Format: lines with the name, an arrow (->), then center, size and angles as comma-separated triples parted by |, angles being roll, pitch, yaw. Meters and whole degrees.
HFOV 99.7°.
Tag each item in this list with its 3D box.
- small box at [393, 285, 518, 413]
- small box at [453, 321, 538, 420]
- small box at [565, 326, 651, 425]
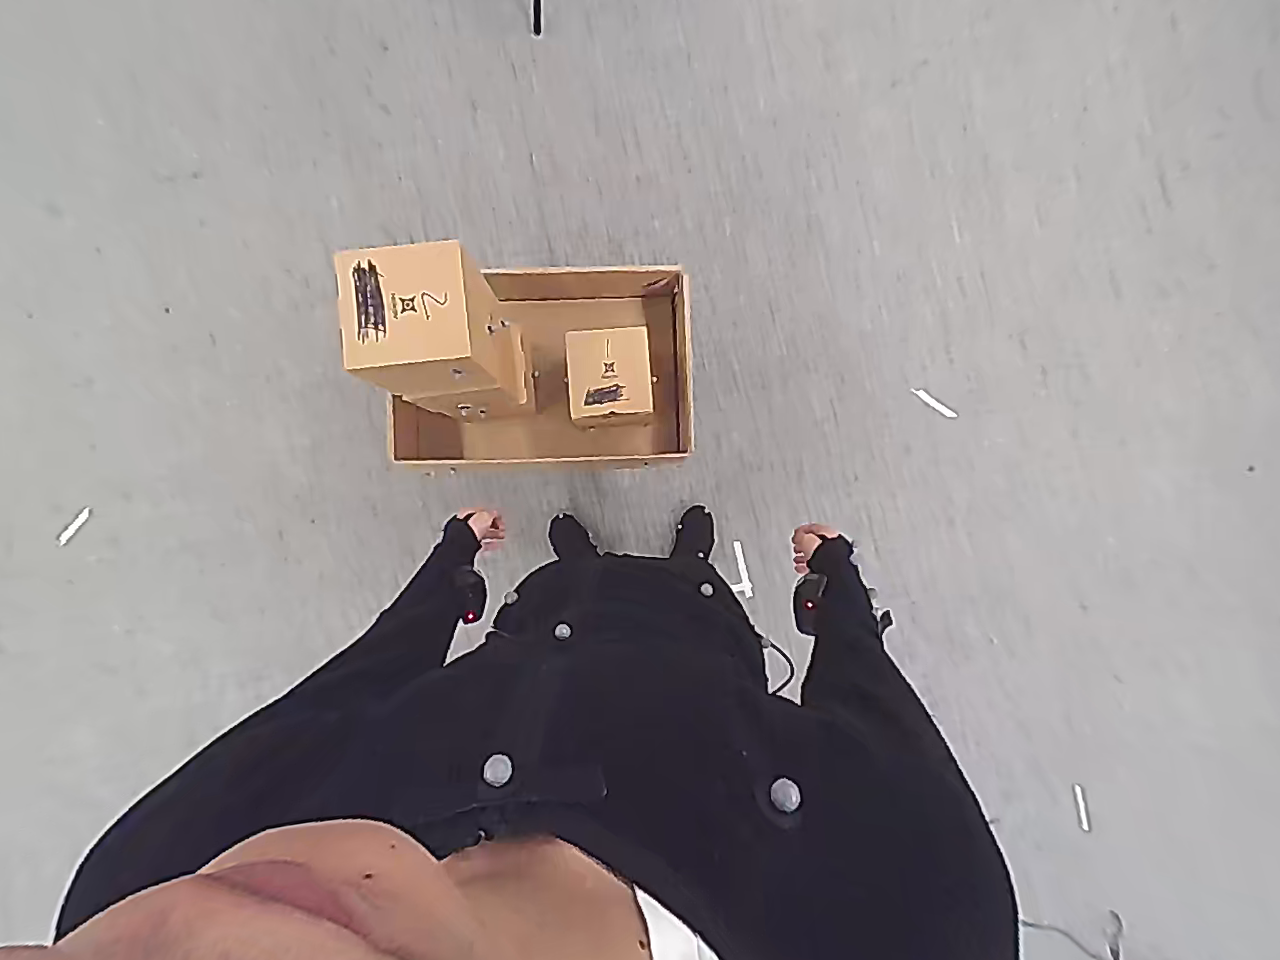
small box -> -0.325, -0.229, 0.979 | 0.168, 0.176, 0.179 | -7, 88, -1
small box -> -0.320, -0.224, 1.142 | 0.179, 0.176, 0.168 | -5, 89, -3
small box -> -0.064, -0.213, 1.150 | 0.168, 0.176, 0.179 | -4, 88, -2
